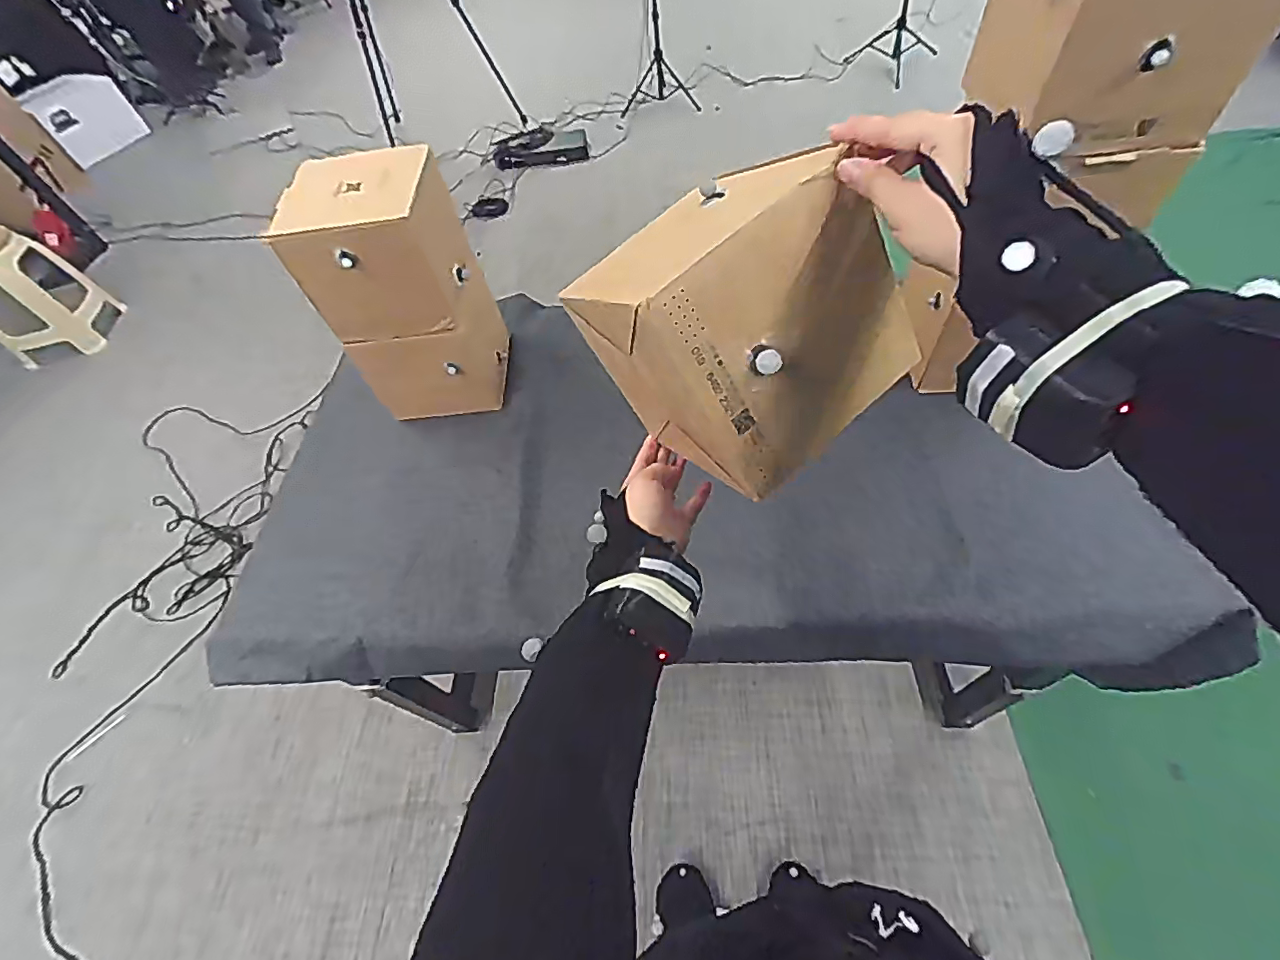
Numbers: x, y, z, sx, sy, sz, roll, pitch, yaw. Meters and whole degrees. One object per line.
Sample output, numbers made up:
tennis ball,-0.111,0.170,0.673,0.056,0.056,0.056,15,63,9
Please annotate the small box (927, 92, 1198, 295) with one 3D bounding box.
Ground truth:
small box,0.457,-0.331,0.625,0.168,0.176,0.179,-1,58,8

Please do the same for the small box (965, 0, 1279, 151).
small box,0.431,-0.421,0.489,0.168,0.176,0.179,-2,56,6

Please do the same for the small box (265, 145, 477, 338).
small box,-0.338,-0.308,0.720,0.179,0.176,0.168,-6,58,2

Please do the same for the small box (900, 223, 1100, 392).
small box,0.480,-0.245,0.763,0.168,0.176,0.179,-1,57,8

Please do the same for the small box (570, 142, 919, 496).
small box,0.068,-0.118,0.420,0.176,0.168,0.179,-39,30,-5
